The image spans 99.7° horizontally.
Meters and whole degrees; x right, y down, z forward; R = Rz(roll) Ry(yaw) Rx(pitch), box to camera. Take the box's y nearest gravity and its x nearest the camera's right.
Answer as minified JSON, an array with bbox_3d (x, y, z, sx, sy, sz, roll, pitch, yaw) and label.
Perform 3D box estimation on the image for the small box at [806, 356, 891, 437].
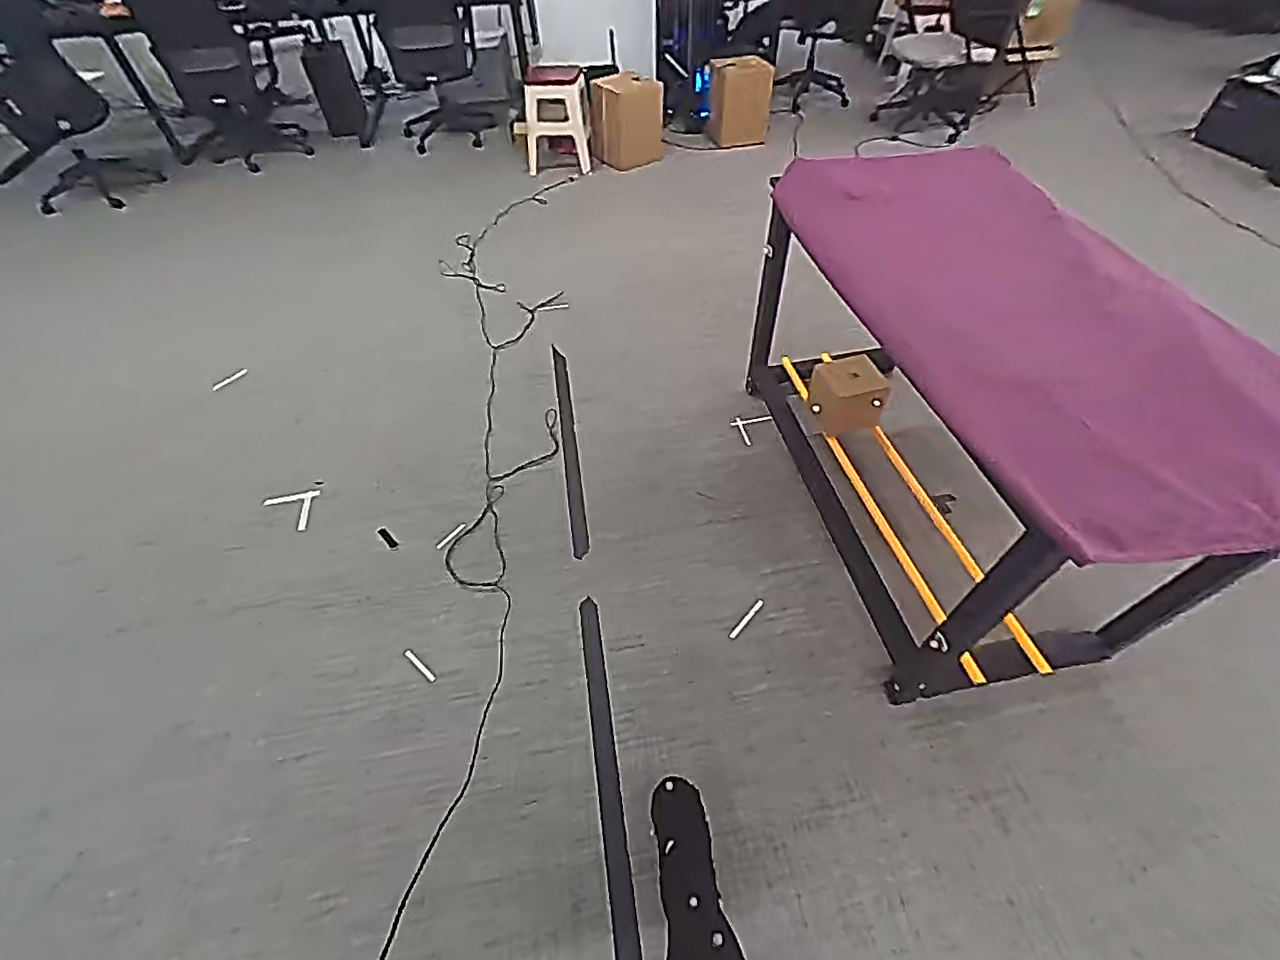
[{"bbox_3d":[0.647,-0.261,1.698,0.179,0.176,0.168,-13,51,-6],"label":"small box"}]
